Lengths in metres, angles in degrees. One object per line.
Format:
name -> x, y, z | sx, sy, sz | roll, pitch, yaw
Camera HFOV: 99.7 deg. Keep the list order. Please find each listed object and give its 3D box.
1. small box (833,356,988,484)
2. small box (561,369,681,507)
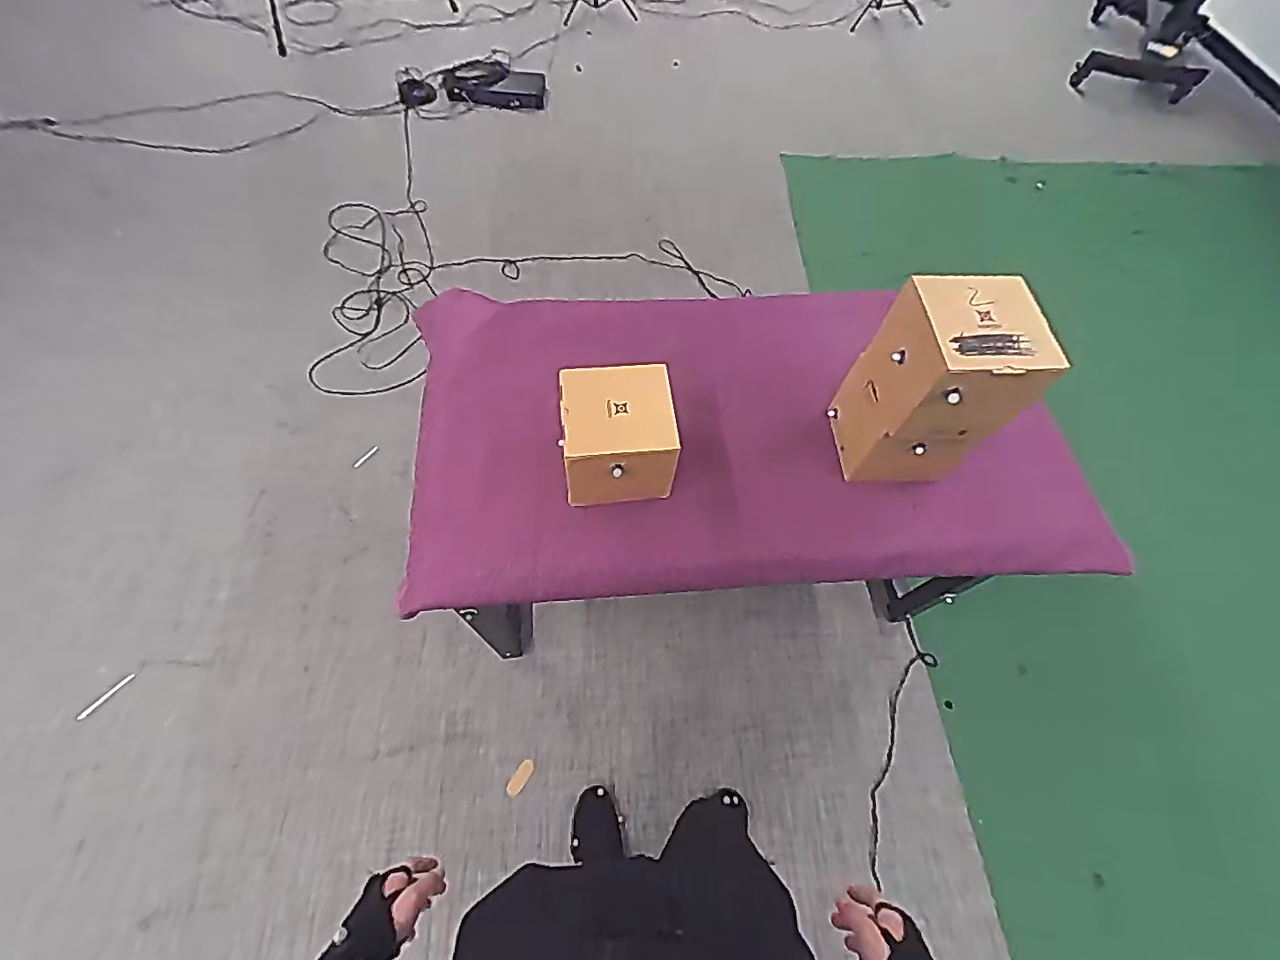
small box -> 0.458, -0.100, 0.955 | 0.179, 0.176, 0.168 | 0, 62, -4
small box -> -0.037, -0.066, 0.908 | 0.179, 0.176, 0.168 | -5, 63, -5
